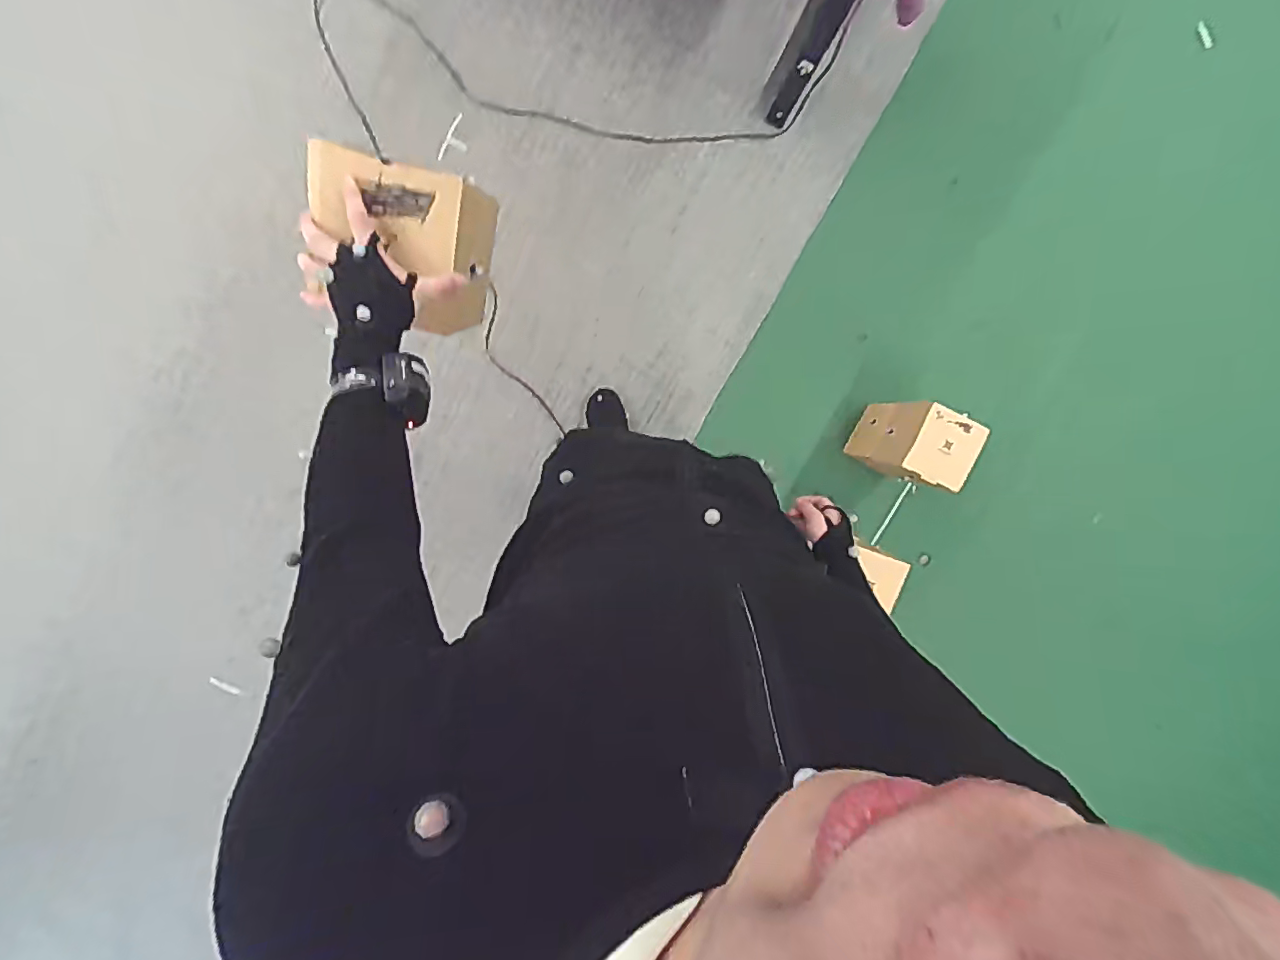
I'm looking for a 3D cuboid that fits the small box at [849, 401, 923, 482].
[{"bbox_3d":[0.735,-0.113,1.545,0.179,0.176,0.168,27,96,-7],"label":"small box"}]

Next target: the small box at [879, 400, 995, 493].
[{"bbox_3d":[0.744,-0.091,1.382,0.168,0.176,0.179,25,97,-6],"label":"small box"}]

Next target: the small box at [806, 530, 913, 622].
[{"bbox_3d":[0.570,0.245,1.426,0.179,0.176,0.168,20,97,-4],"label":"small box"}]

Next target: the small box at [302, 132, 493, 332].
[{"bbox_3d":[-0.294,-0.302,0.681,0.168,0.176,0.179,13,112,-4],"label":"small box"}]
